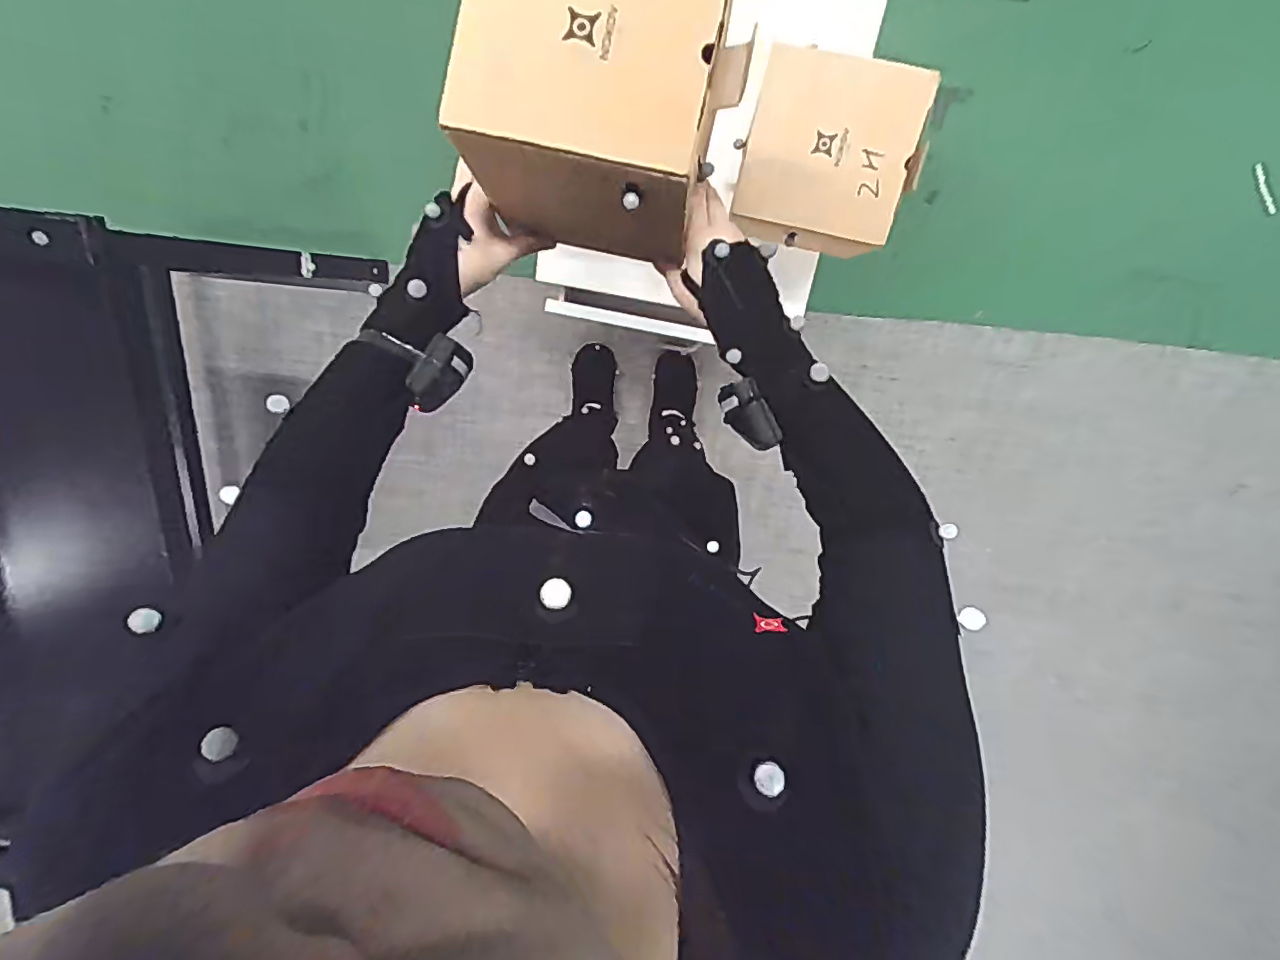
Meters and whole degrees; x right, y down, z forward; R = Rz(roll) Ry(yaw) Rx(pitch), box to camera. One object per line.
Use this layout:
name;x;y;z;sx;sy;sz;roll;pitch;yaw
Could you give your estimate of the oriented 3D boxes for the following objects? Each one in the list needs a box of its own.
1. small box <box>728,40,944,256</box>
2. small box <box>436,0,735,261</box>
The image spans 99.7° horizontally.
small box;0.208;-0.369;0.636;0.179;0.176;0.168;13;110;1
small box;-0.031;-0.297;0.431;0.179;0.176;0.168;12;91;1
